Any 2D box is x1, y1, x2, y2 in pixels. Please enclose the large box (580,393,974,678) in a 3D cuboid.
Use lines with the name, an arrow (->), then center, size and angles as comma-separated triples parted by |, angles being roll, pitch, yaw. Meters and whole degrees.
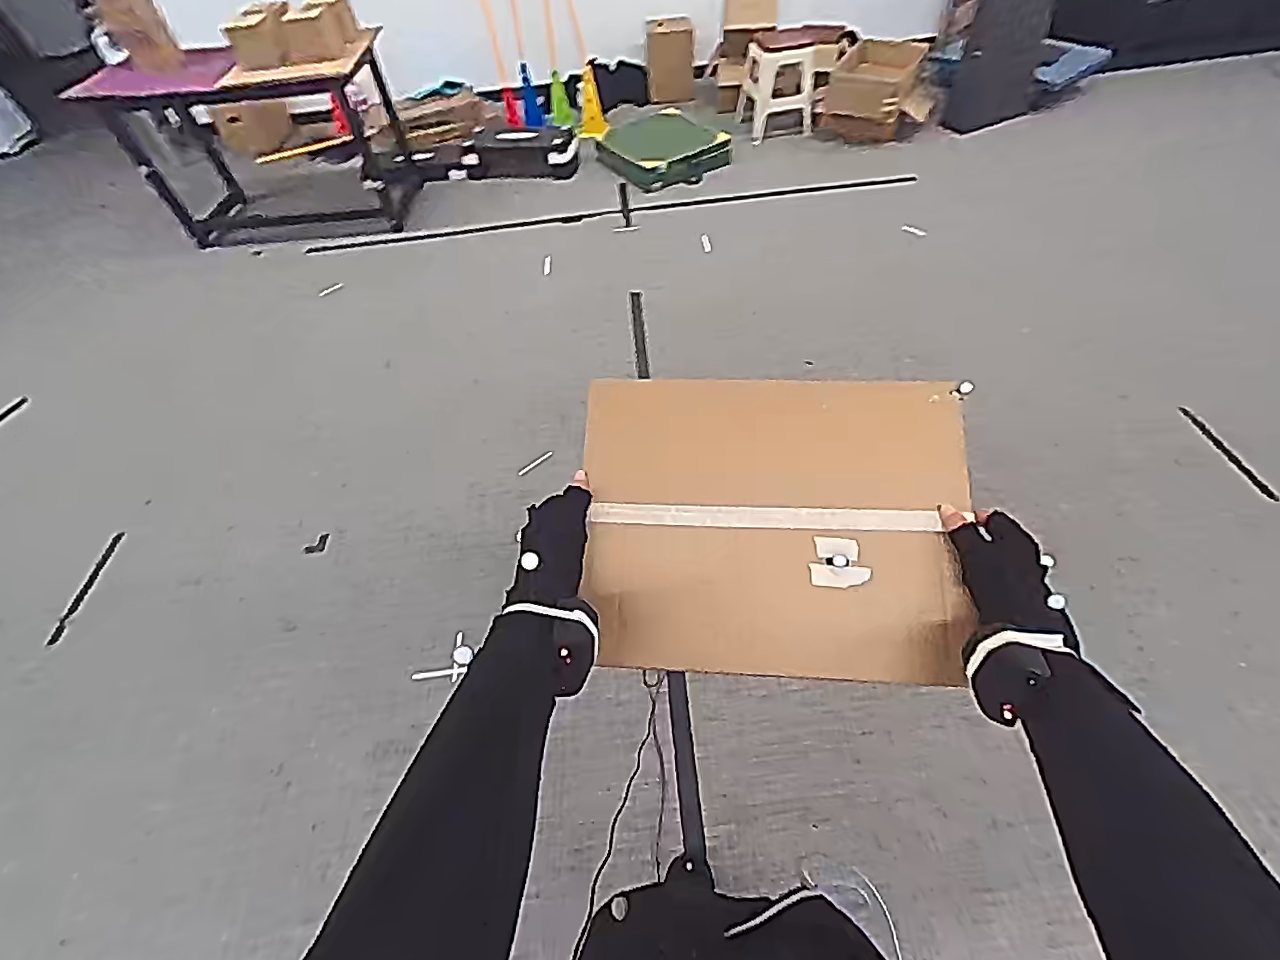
large box -> 0.145, 0.089, 0.729 | 0.408, 0.320, 0.320 | 0, 75, 5
